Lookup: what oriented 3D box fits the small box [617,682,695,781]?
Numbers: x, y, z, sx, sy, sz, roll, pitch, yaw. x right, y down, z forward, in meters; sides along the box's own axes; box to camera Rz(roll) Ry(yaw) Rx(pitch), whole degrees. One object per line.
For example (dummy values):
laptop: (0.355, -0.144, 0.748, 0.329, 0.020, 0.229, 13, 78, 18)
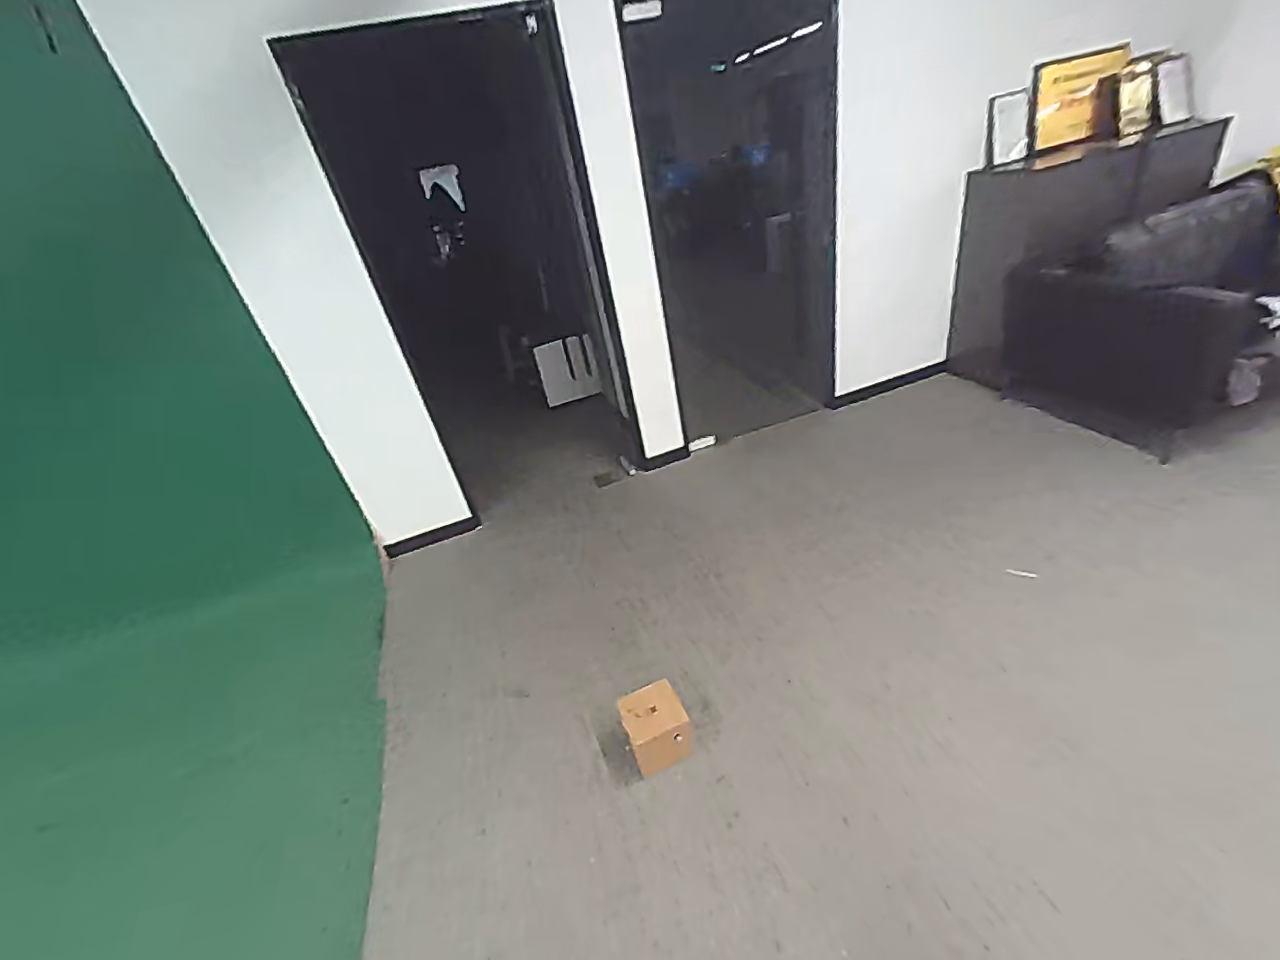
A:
small box: (0.052, 0.743, 1.601, 0.179, 0.176, 0.168, -21, 32, -13)
